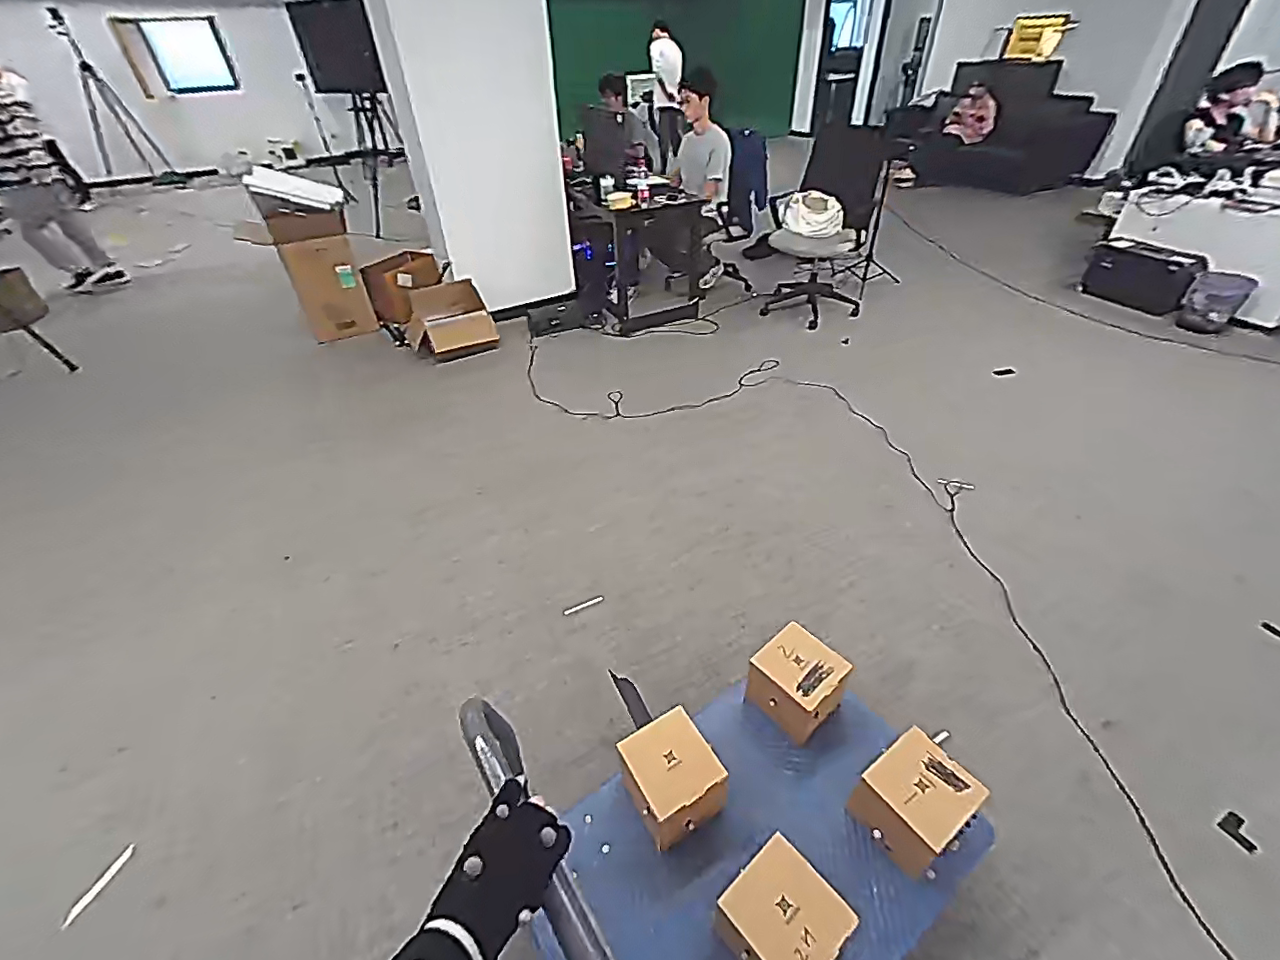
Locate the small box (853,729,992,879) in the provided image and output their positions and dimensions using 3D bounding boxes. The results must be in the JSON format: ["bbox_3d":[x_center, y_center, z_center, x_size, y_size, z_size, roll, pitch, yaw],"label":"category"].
[{"bbox_3d":[0.559,0.654,1.094,0.179,0.176,0.168,-26,44,-23],"label":"small box"}]

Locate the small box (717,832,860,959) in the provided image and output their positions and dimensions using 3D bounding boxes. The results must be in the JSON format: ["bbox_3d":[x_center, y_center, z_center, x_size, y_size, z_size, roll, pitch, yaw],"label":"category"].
[{"bbox_3d":[0.251,0.784,0.958,0.168,0.176,0.179,-29,46,-27],"label":"small box"}]

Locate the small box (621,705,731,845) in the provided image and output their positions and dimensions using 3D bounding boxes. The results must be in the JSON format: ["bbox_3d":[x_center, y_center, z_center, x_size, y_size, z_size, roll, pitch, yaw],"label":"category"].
[{"bbox_3d":[0.070,0.630,1.156,0.168,0.176,0.179,-22,45,-22],"label":"small box"}]
